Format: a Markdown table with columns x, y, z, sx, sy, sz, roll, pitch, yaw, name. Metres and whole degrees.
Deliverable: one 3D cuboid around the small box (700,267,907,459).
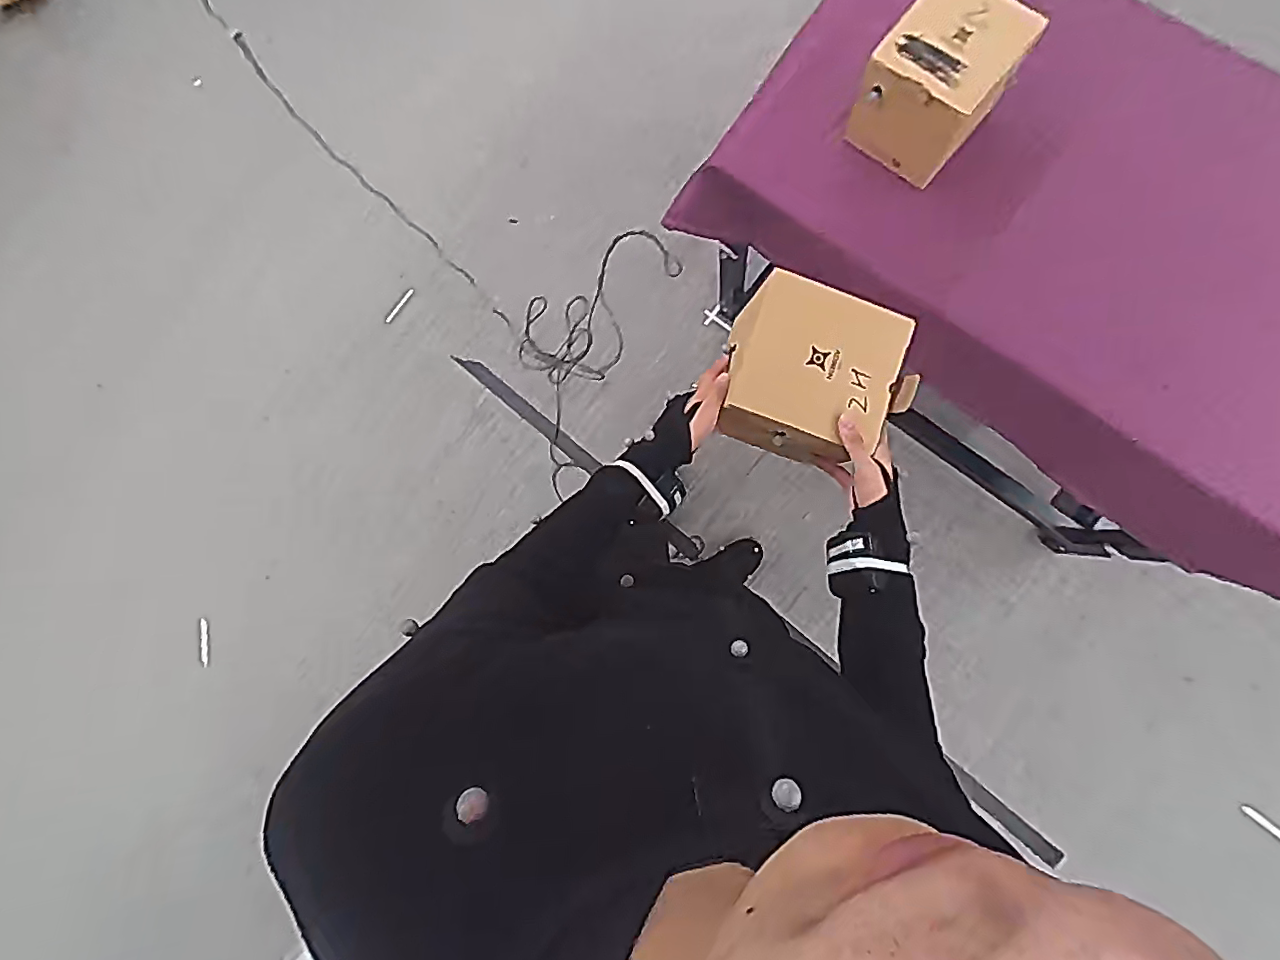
| x | y | z | sx | sy | sz | roll | pitch | yaw | name |
| --- | --- | --- | --- | --- | --- | --- | --- | --- | --- |
| 0.190 | -0.131 | 0.683 | 0.179 | 0.176 | 0.168 | 20 | 86 | -5 | small box |
